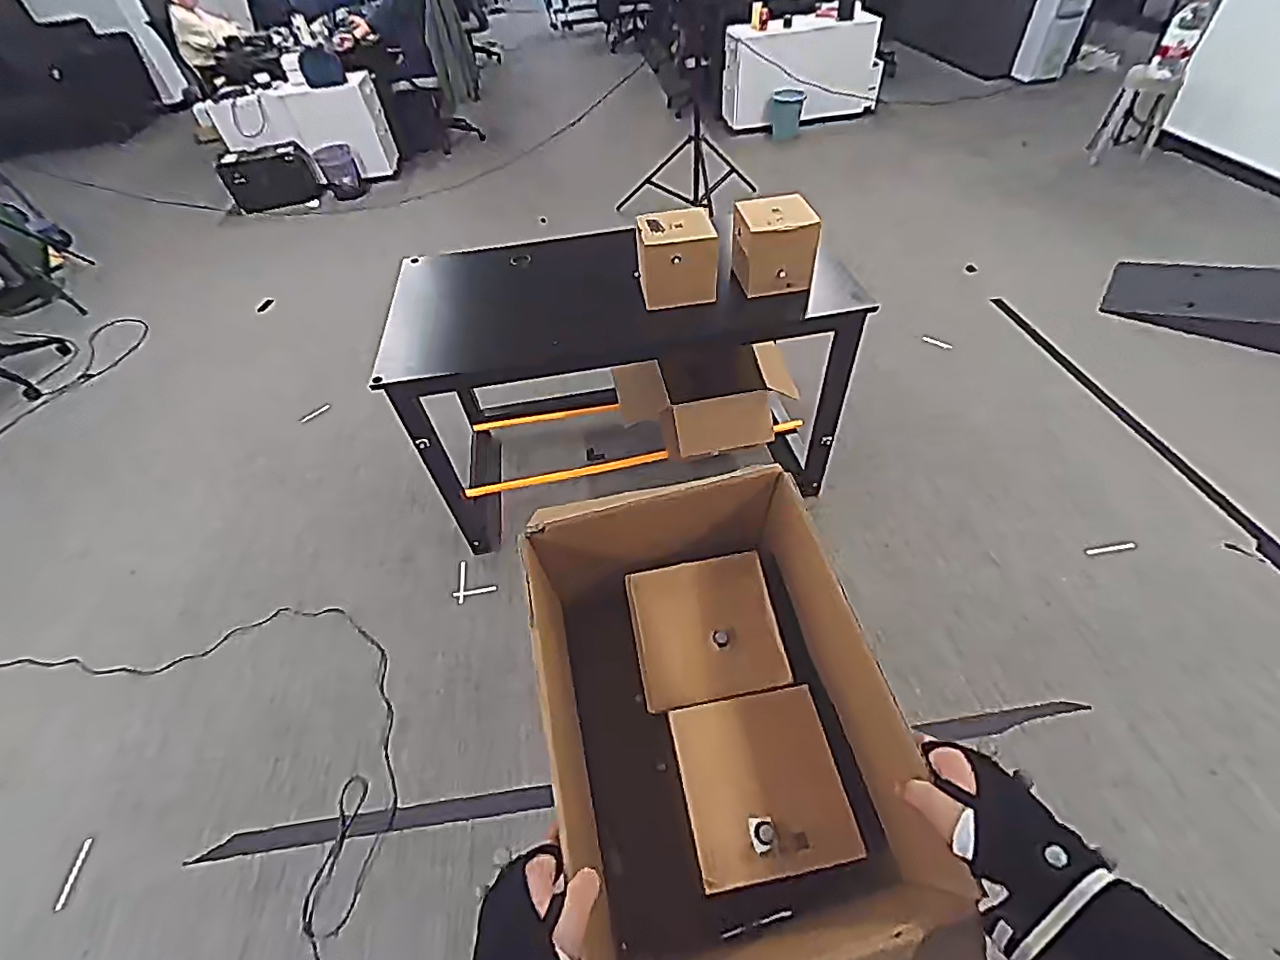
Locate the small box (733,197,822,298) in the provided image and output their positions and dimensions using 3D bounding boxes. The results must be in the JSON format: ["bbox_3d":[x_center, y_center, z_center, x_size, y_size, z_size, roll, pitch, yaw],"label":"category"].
[{"bbox_3d":[0.333,-0.580,1.350,0.168,0.176,0.179,-9,48,-1],"label":"small box"}]

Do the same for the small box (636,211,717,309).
[{"bbox_3d":[0.090,-0.543,1.344,0.179,0.176,0.168,-8,49,-2],"label":"small box"}]
